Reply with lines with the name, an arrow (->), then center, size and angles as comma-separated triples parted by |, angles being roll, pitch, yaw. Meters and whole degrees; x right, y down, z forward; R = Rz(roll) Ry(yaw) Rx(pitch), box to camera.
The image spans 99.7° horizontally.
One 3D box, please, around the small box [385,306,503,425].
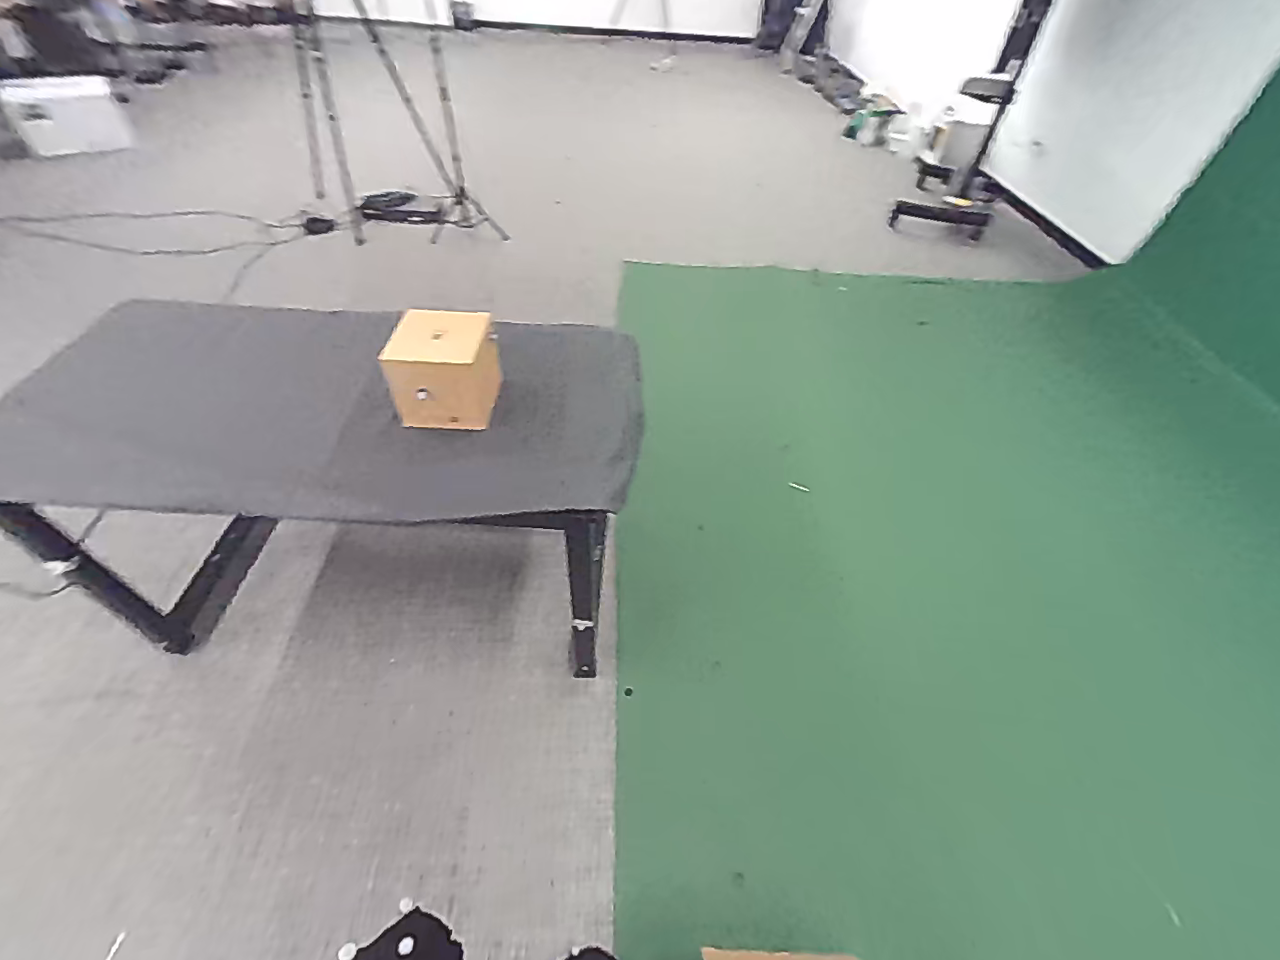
small box -> -0.378, -0.226, 1.083 | 0.168, 0.176, 0.179 | 2, 47, -1
